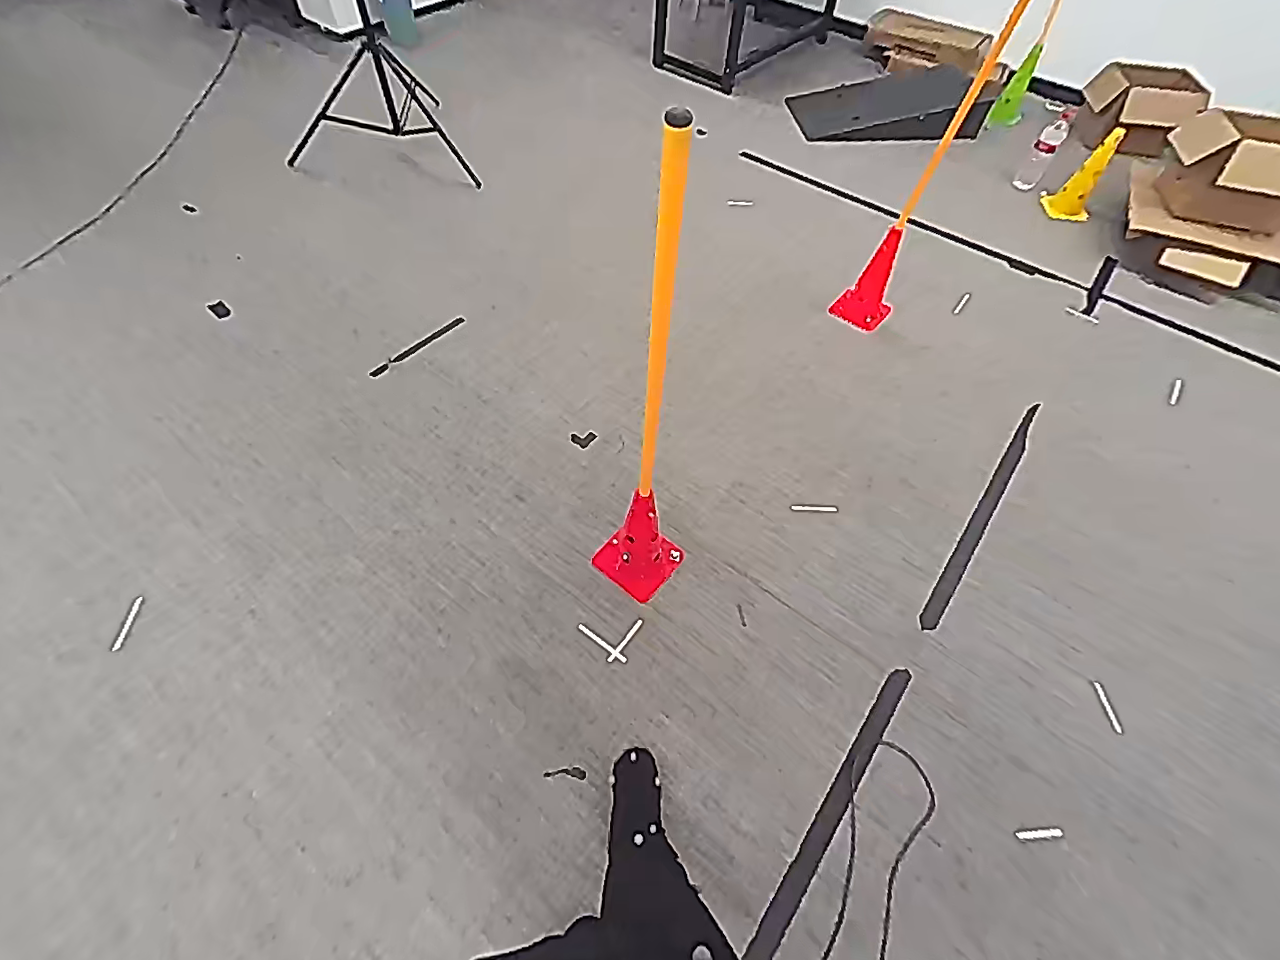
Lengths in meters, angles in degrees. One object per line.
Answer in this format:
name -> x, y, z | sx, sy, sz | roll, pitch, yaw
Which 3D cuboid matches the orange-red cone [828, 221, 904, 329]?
orange-red cone -> 0.879, -0.781, 2.003 | 0.198, 0.360, 0.199 | 37, 62, 19
